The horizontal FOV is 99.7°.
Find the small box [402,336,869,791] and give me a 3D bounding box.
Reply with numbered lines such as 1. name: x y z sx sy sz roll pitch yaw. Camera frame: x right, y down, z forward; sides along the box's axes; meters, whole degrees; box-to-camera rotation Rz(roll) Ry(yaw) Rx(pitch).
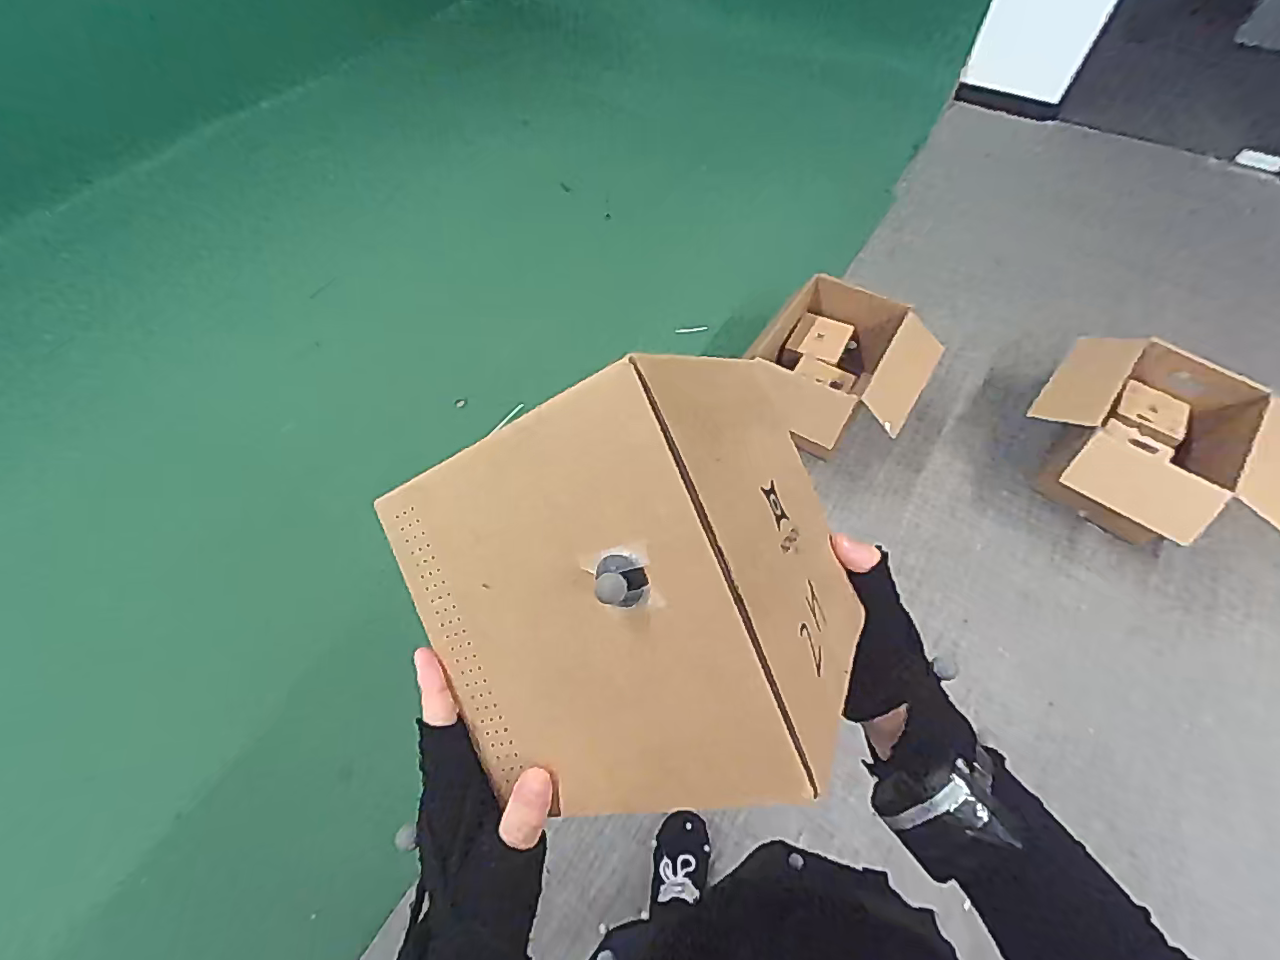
1. small box: 0.004 0.042 0.301 0.176 0.168 0.179 -24 89 30
